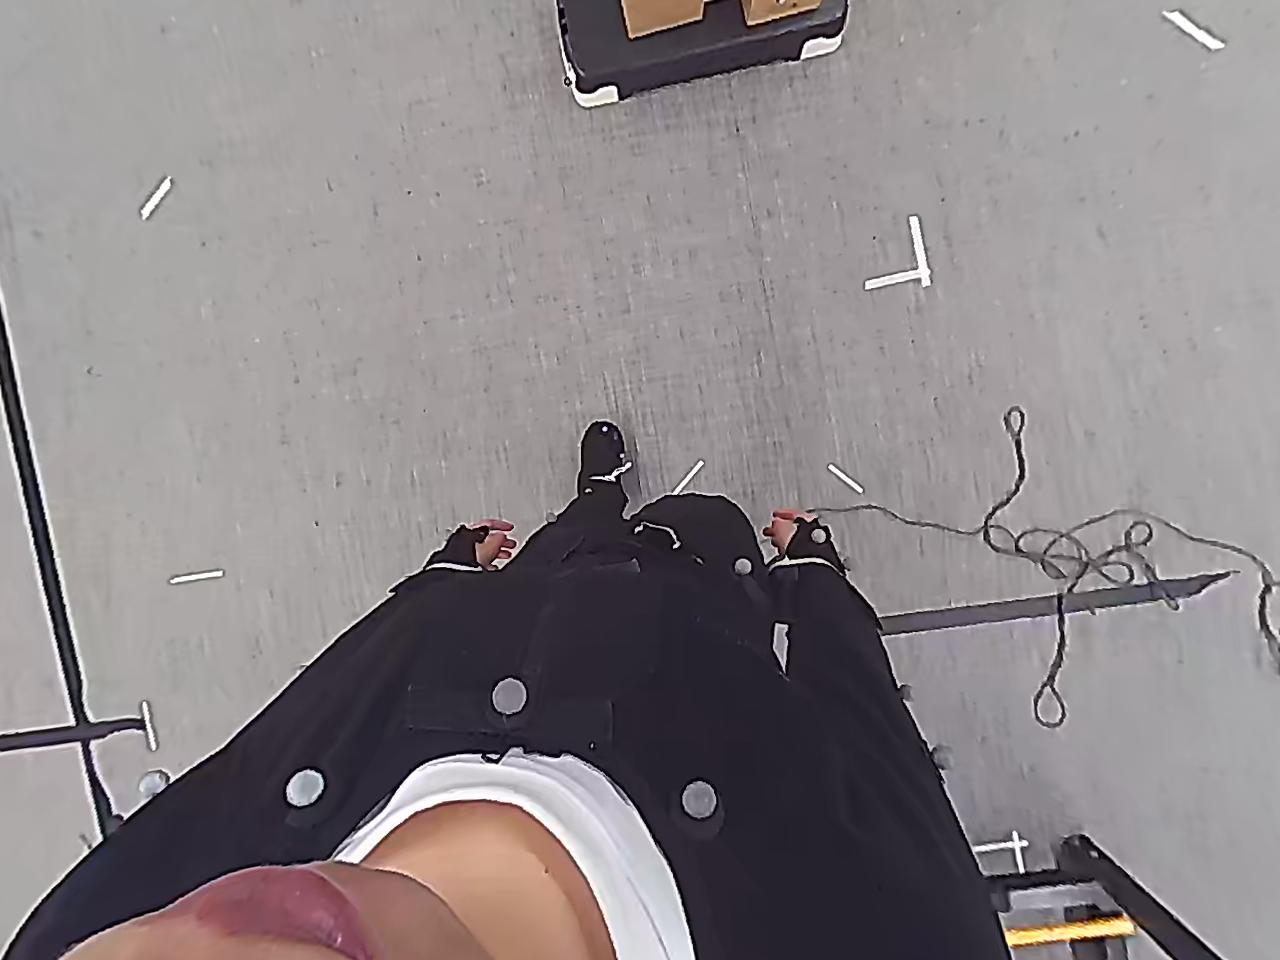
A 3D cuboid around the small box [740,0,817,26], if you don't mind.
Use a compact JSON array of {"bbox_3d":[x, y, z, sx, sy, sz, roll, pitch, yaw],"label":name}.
[{"bbox_3d":[0.299,-1.131,1.149,0.168,0.176,0.179,-12,93,3],"label":"small box"}]
